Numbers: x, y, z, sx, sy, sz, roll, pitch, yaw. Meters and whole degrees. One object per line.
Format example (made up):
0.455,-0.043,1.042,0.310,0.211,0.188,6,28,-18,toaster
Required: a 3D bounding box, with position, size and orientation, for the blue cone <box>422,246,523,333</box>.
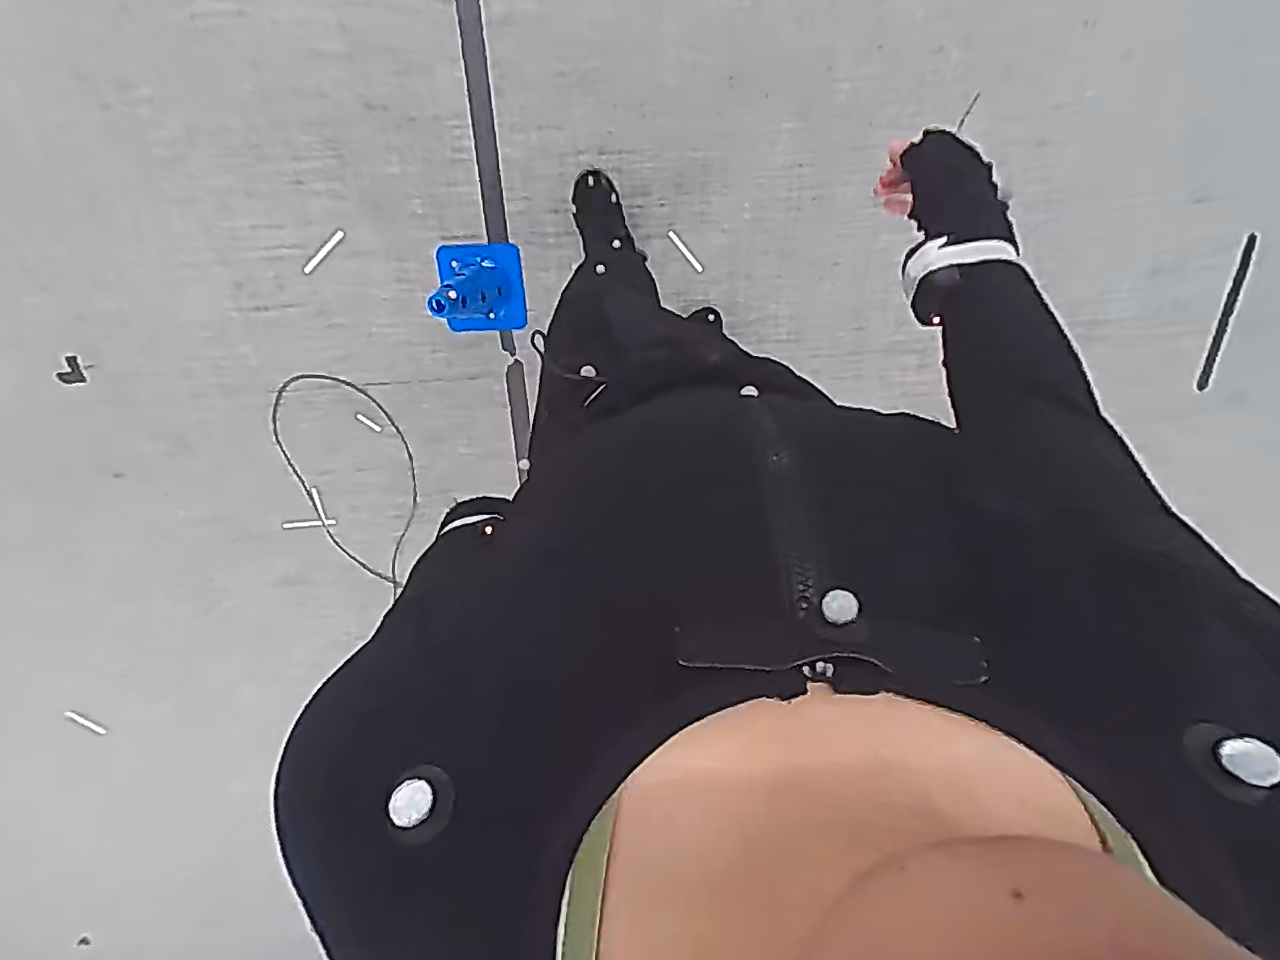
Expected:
-0.380,-0.386,1.148,0.193,0.380,0.192,-3,115,1,blue cone
